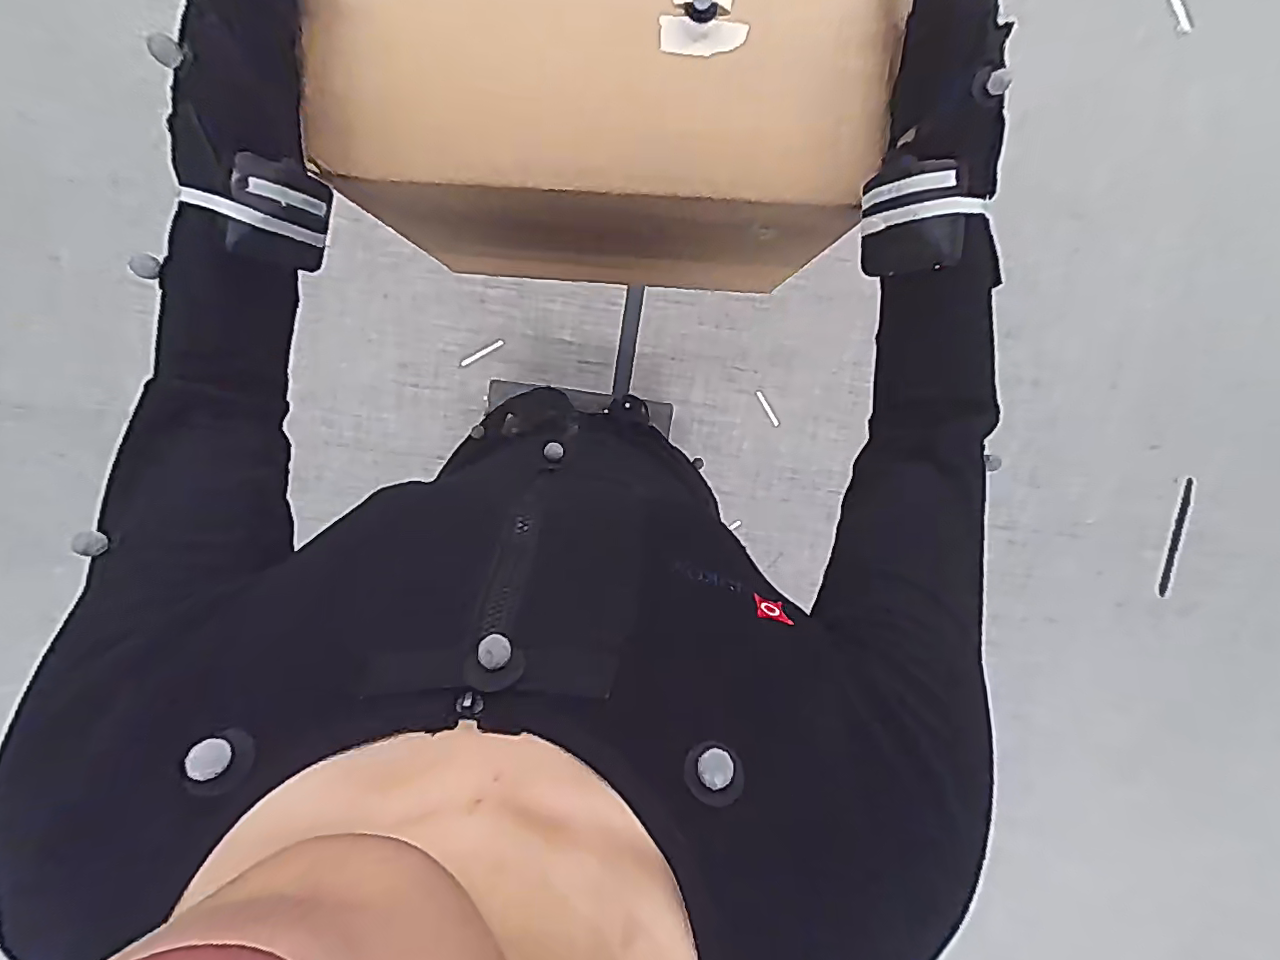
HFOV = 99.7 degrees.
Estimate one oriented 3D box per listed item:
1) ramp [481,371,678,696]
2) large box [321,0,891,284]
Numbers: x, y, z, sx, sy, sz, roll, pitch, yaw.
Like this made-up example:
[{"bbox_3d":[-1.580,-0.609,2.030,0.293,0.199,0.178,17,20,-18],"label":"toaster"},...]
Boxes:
[{"bbox_3d":[-0.201,0.208,1.590,0.509,0.206,0.991,6,98,-4],"label":"ramp"},{"bbox_3d":[-0.024,-0.386,0.519,0.408,0.320,0.320,3,99,-1],"label":"large box"}]
